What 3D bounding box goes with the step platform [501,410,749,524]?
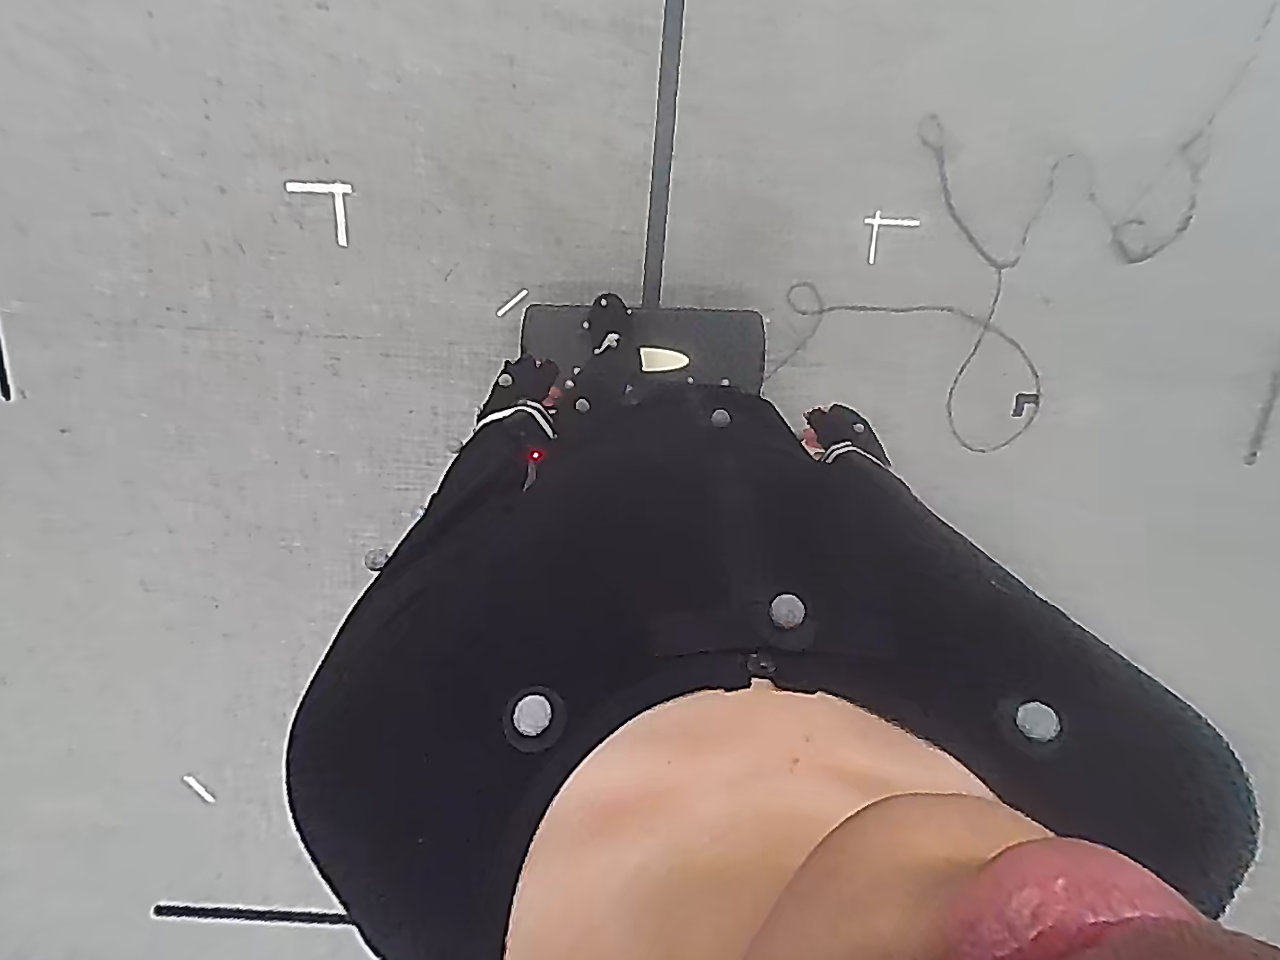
[{"bbox_3d":[-0.041,-0.040,1.525,0.684,0.204,0.286,2,102,0],"label":"step platform"}]
